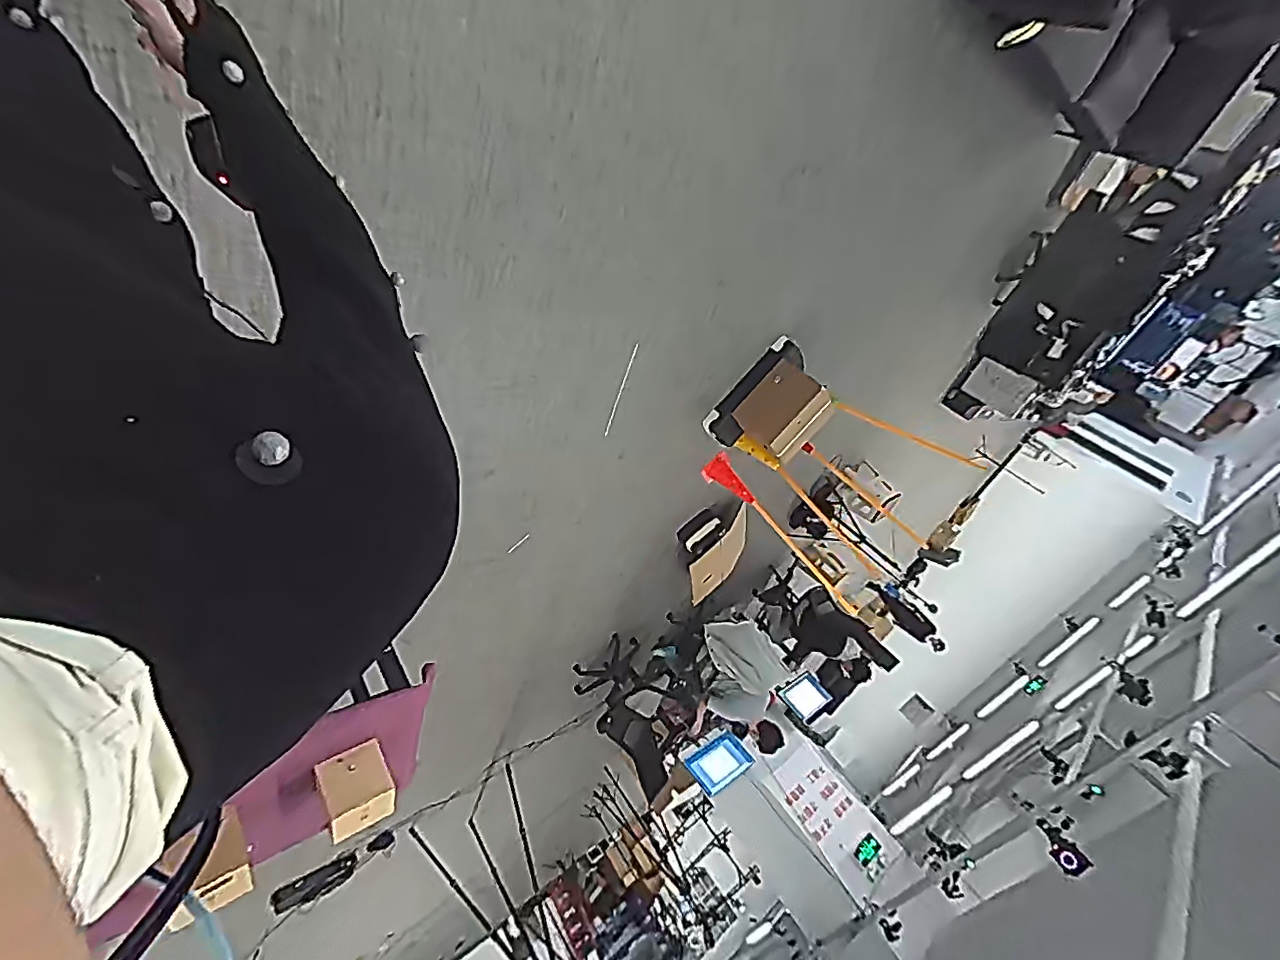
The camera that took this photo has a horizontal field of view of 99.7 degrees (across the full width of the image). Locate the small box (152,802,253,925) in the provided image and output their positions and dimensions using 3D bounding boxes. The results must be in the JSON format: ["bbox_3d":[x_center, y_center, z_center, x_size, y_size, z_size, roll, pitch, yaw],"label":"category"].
[{"bbox_3d":[-1.091,0.947,1.352,0.168,0.176,0.179,-12,137,-40],"label":"small box"}]

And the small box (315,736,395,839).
[{"bbox_3d":[-0.831,0.888,1.574,0.168,0.176,0.179,-14,137,-40],"label":"small box"}]
